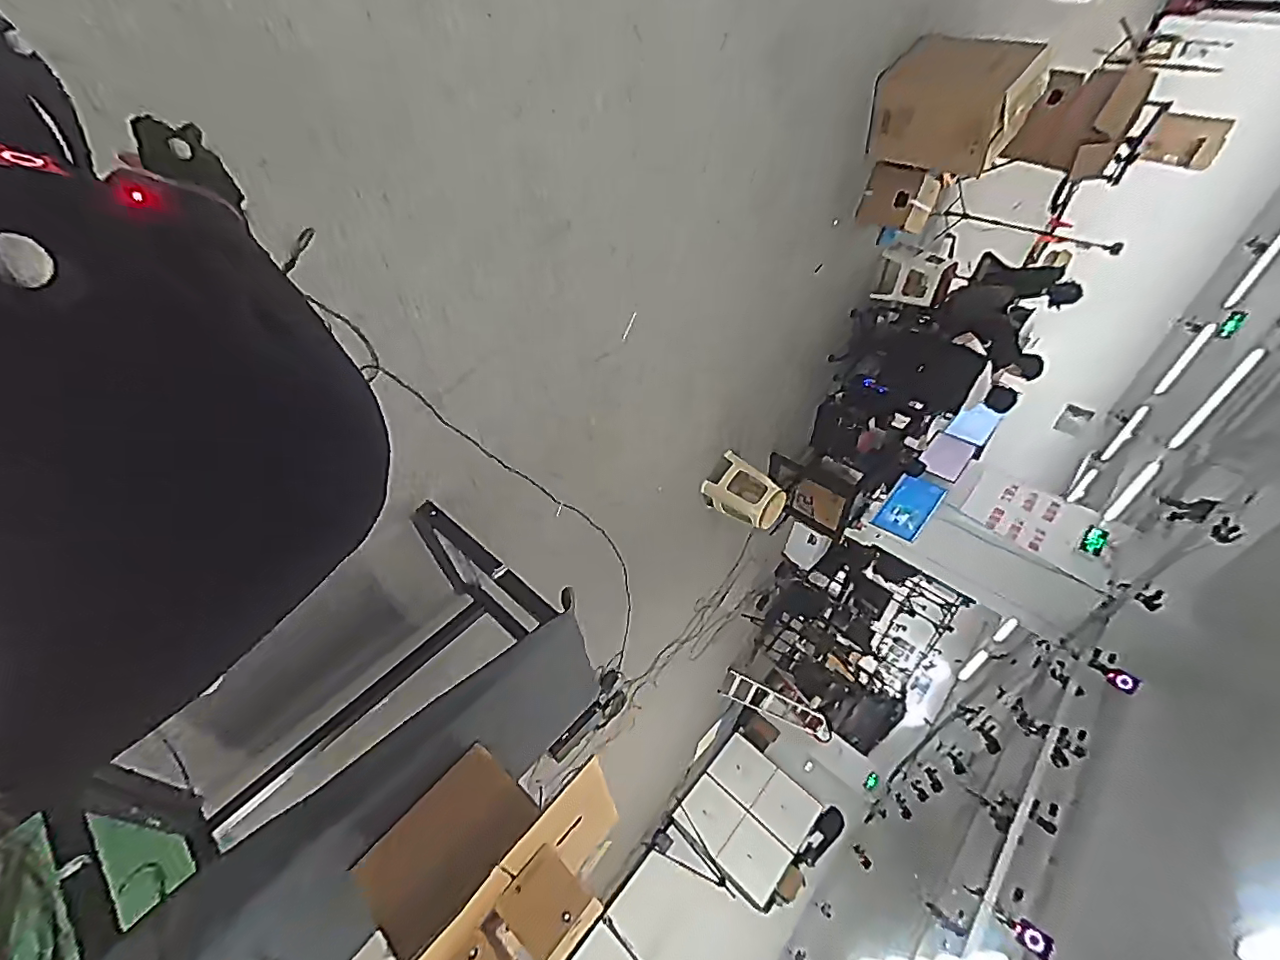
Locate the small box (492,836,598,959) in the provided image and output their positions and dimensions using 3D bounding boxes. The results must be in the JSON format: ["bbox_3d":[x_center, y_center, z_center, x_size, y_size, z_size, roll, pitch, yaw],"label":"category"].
[{"bbox_3d":[-0.223,0.991,1.287,0.168,0.176,0.179,-42,147,-29],"label":"small box"}]
